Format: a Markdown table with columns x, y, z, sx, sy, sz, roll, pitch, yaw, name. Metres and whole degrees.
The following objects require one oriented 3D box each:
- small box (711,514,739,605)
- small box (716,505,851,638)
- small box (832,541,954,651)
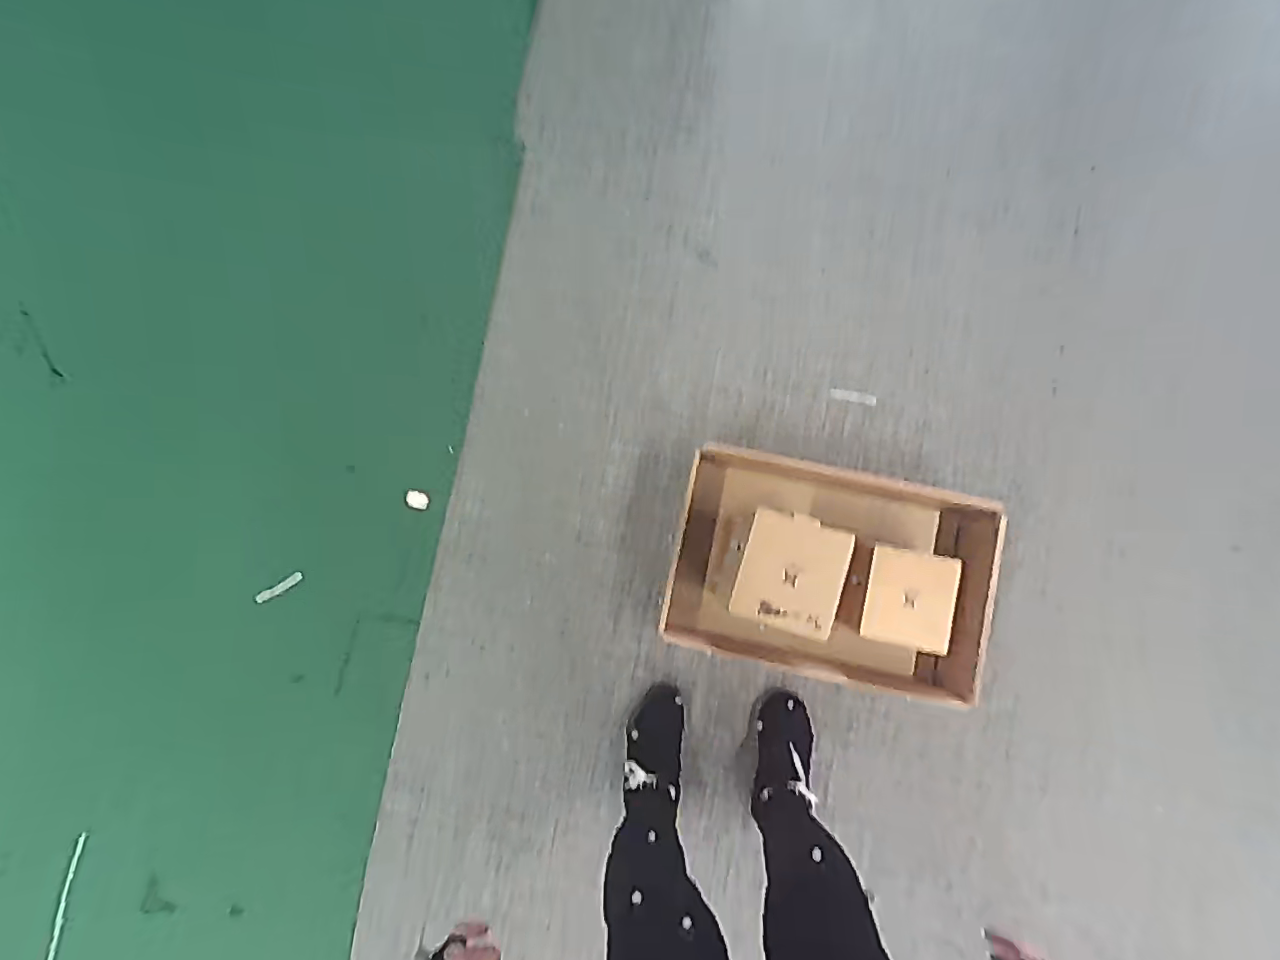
| x | y | z | sx | sy | sz | roll | pitch | yaw | name |
| --- | --- | --- | --- | --- | --- | --- | --- | --- | --- |
| 0.247 | 0.171 | 1.113 | 0.168 | 0.176 | 0.179 | 11 | 85 | 0 | small box |
| 0.241 | 0.154 | 0.950 | 0.168 | 0.176 | 0.179 | 17 | 85 | 2 | small box |
| 0.504 | 0.228 | 1.107 | 0.168 | 0.176 | 0.179 | 12 | 86 | 2 | small box |
